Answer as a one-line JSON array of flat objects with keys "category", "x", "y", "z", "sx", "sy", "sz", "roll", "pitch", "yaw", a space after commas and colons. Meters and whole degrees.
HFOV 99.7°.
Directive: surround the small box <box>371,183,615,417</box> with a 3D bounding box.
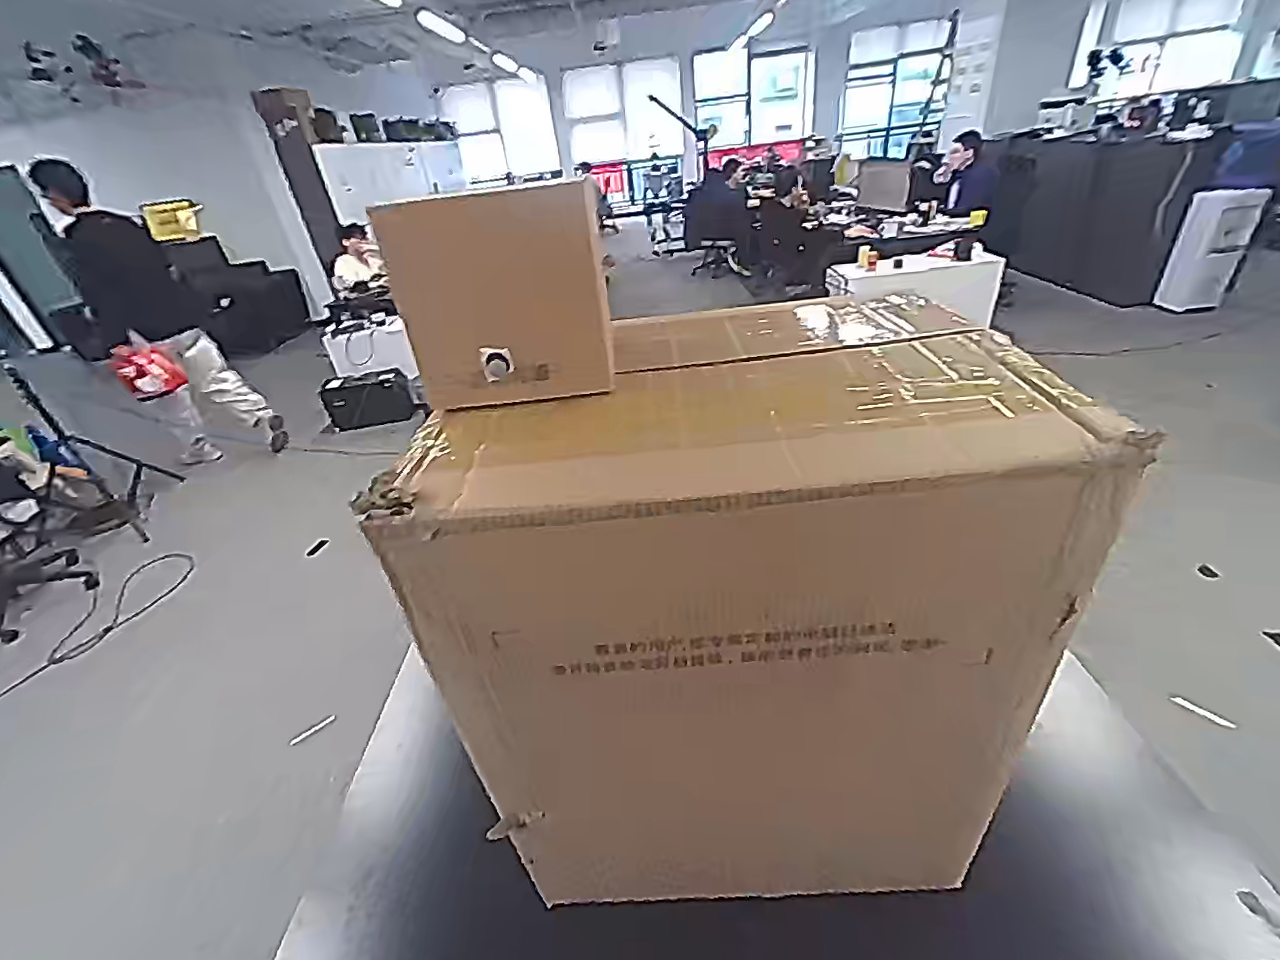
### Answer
[{"category": "small box", "x": -0.117, "y": -0.175, "z": 0.513, "sx": 0.168, "sy": 0.176, "sz": 0.179, "roll": -8, "pitch": 31, "yaw": 0}]
